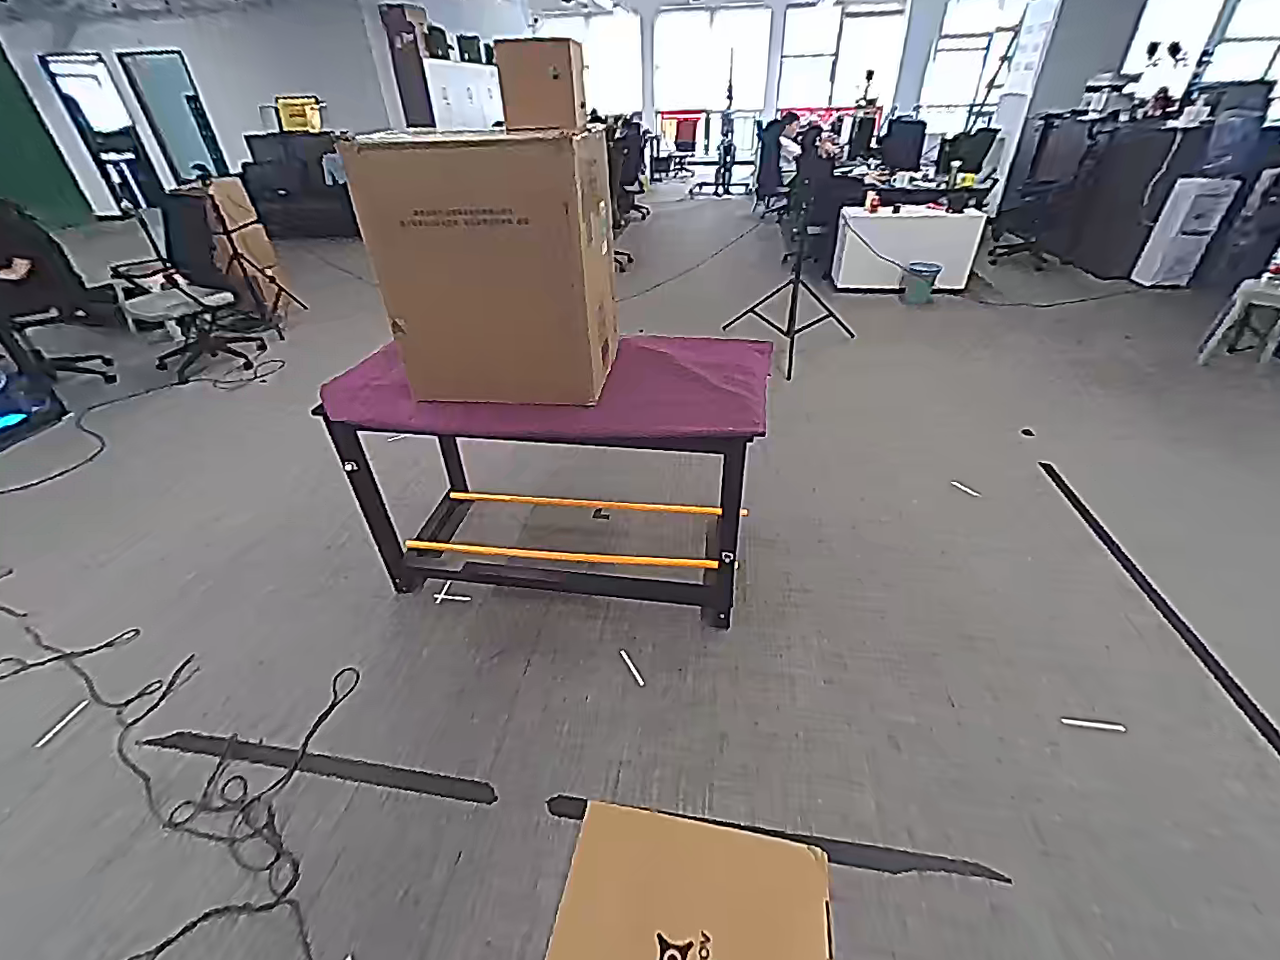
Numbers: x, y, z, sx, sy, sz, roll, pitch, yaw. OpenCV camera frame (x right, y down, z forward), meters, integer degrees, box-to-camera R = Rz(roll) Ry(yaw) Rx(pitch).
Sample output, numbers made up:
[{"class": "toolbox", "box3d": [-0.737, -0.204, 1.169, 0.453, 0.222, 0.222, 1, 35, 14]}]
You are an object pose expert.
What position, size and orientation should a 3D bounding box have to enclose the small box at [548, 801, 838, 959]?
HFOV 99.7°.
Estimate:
[{"class": "small box", "box3d": [0.035, 0.360, 0.373, 0.179, 0.176, 0.168, 5, 37, 12]}]
